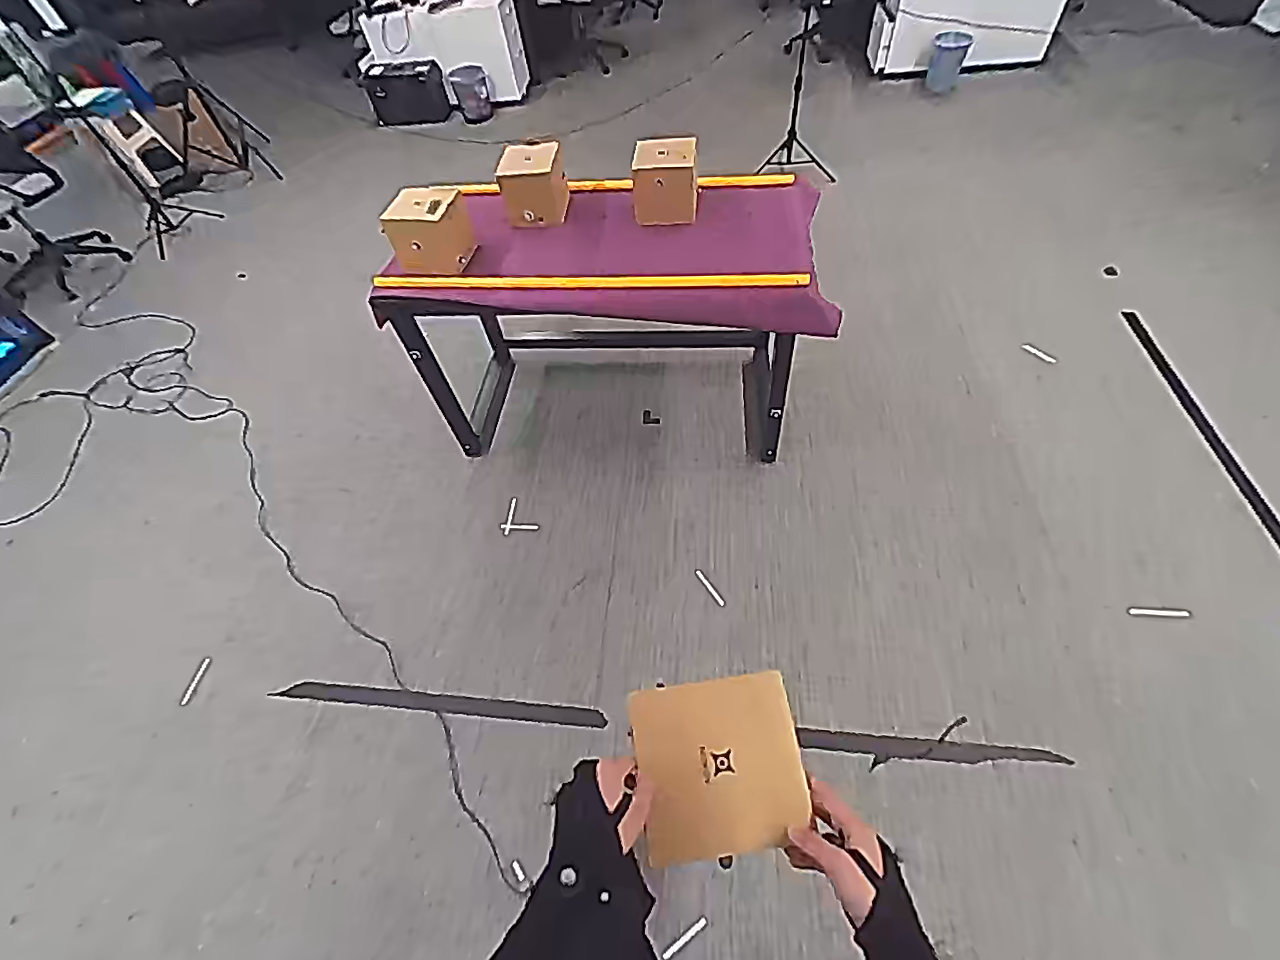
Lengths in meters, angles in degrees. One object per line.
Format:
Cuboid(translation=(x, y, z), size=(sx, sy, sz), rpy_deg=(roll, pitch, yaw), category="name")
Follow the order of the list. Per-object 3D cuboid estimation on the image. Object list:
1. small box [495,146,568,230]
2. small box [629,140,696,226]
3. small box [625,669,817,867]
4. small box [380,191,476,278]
Cuboid(translation=(-0.323, -0.890, 1.652), size=(0.168, 0.176, 0.179), rpy_deg=(0, 56, 7), category="small box")
Cuboid(translation=(0.073, -0.867, 1.589), size=(0.179, 0.176, 0.168), rpy_deg=(2, 56, 8), category="small box")
Cuboid(translation=(0.083, 0.325, 0.639), size=(0.179, 0.176, 0.168), rpy_deg=(-10, 67, -1), category="small box")
Cuboid(translation=(-0.593, -0.698, 1.542), size=(0.179, 0.176, 0.168), rpy_deg=(5, 56, 10), category="small box")
